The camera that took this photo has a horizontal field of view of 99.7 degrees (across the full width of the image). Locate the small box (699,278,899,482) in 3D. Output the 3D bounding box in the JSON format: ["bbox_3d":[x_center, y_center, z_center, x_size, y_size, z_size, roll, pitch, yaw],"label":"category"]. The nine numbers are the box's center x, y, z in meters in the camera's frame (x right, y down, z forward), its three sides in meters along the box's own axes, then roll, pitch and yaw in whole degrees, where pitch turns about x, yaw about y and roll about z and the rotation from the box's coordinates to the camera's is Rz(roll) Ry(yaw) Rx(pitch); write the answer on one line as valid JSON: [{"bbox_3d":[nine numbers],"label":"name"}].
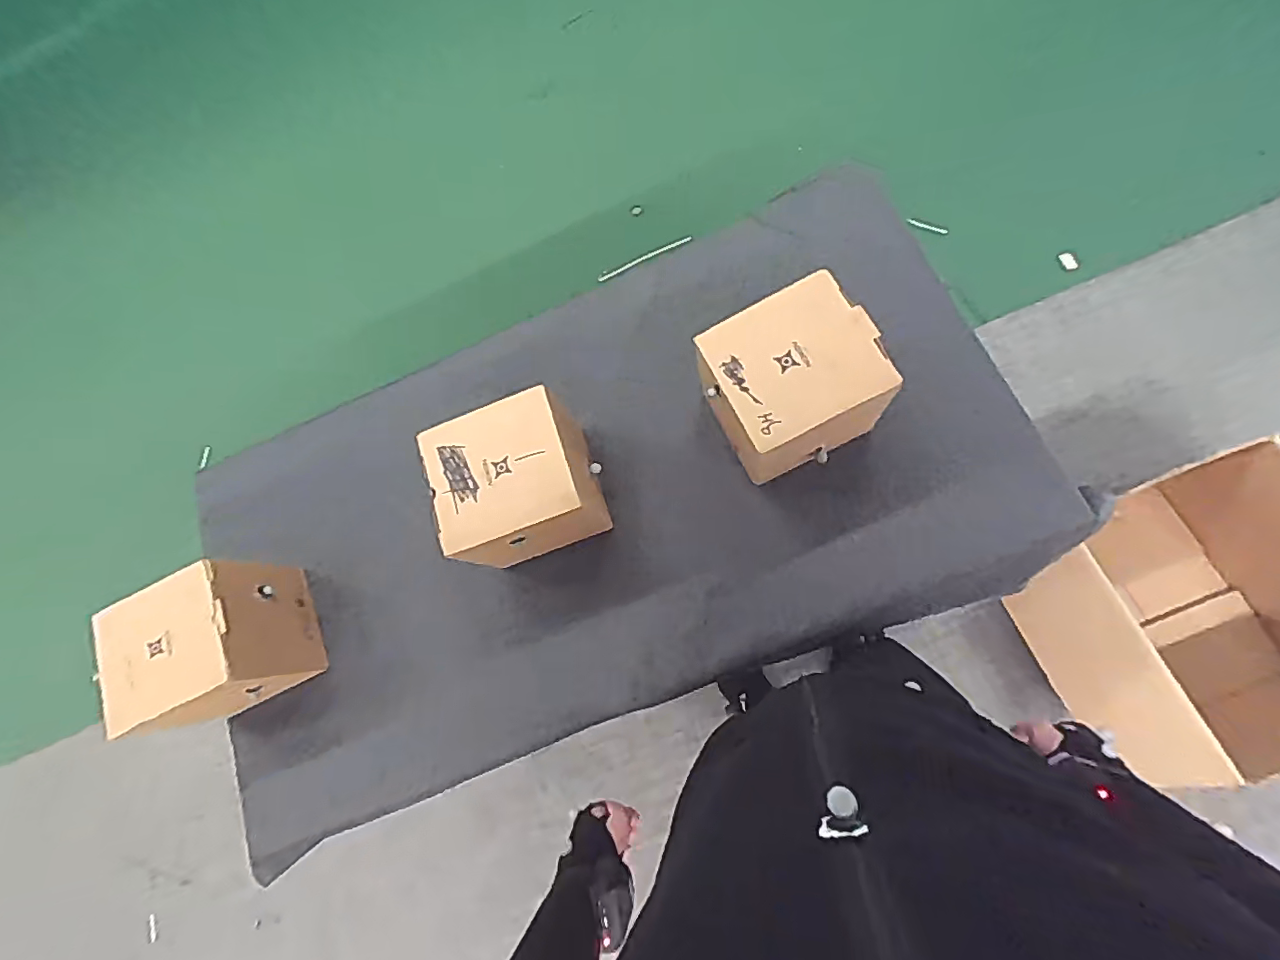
[{"bbox_3d":[0.193,-0.117,0.704,0.179,0.176,0.168,-29,75,3],"label":"small box"}]

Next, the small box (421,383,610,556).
[{"bbox_3d":[-0.157,-0.002,0.721,0.179,0.176,0.168,-17,76,7],"label":"small box"}]

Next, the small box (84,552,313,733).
[{"bbox_3d":[-0.584,0.212,0.737,0.179,0.176,0.168,-27,73,4],"label":"small box"}]
